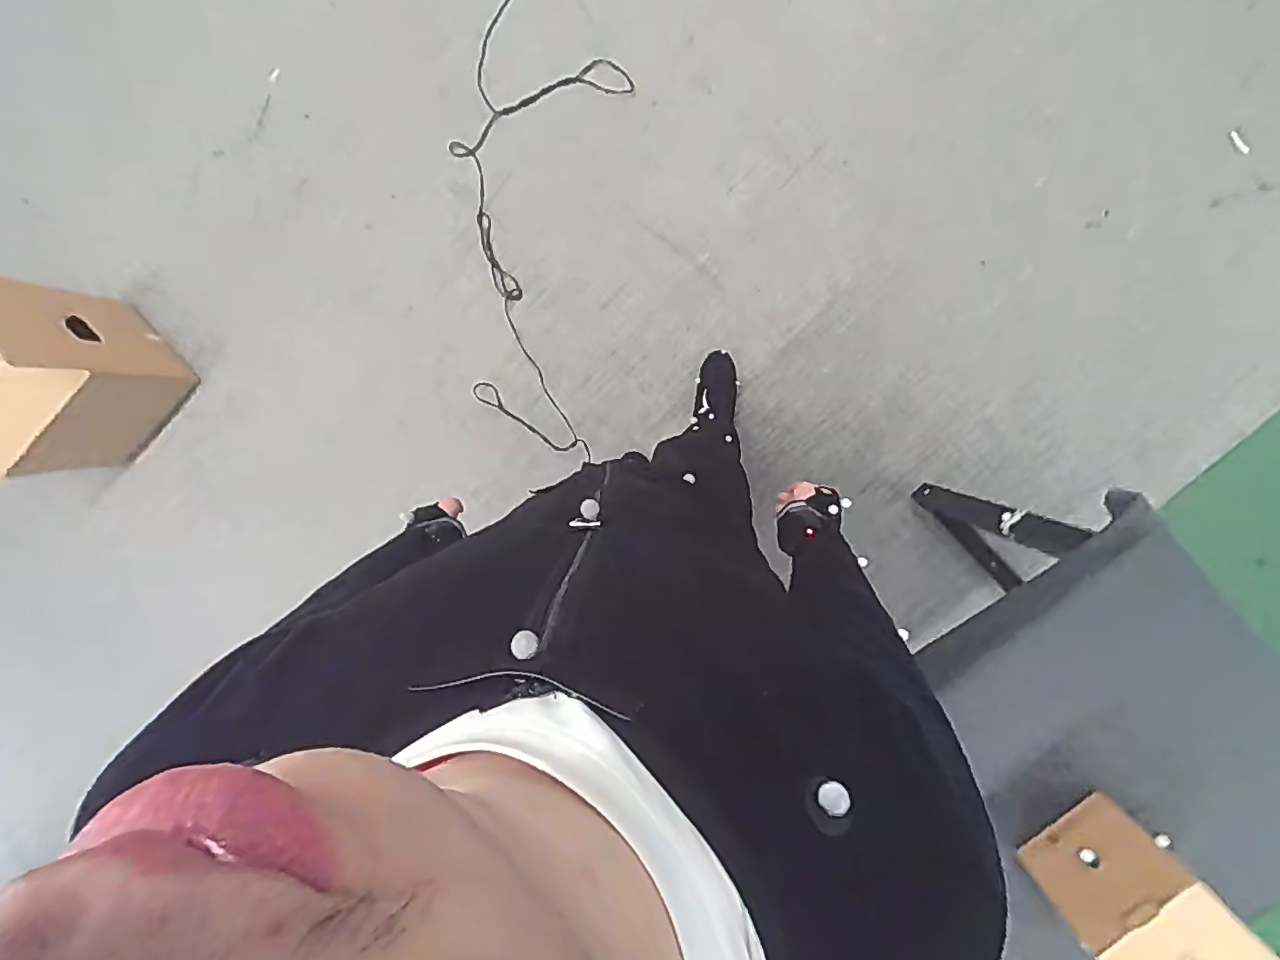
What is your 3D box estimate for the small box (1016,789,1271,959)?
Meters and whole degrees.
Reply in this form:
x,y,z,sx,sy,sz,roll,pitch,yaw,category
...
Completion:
x,y,z,sx,sy,sz,roll,pitch,yaw,category
0.711,0.595,0.790,0.179,0.176,0.168,42,97,-3,small box
